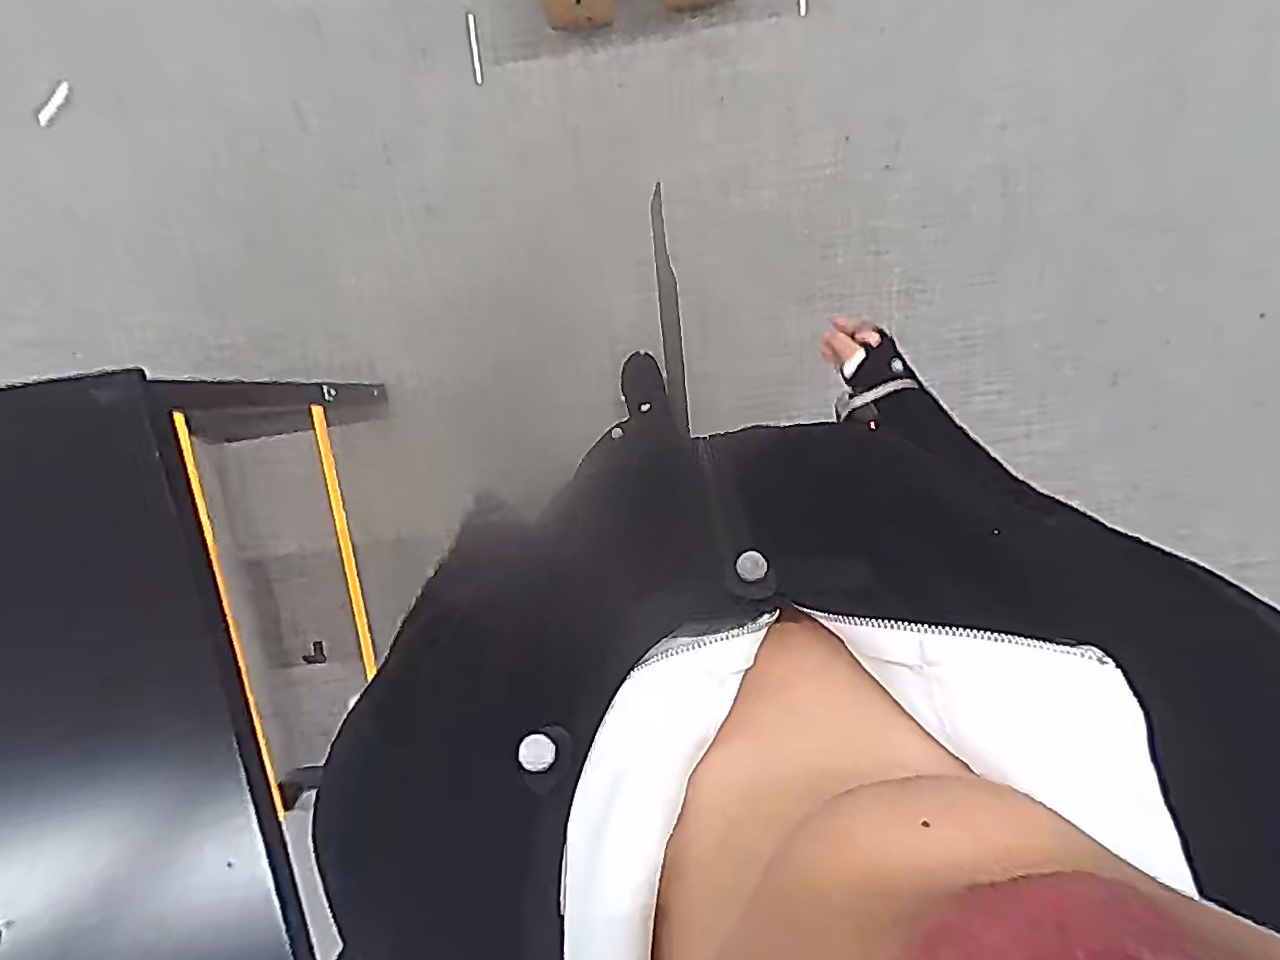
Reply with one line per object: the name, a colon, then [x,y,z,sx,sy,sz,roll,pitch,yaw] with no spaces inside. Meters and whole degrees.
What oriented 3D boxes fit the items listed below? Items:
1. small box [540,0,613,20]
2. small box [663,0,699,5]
small box: [-0.154,-1.180,1.216,0.168,0.176,0.179,-4,100,2]
small box: [0.131,-1.217,1.206,0.179,0.176,0.168,-8,99,2]
